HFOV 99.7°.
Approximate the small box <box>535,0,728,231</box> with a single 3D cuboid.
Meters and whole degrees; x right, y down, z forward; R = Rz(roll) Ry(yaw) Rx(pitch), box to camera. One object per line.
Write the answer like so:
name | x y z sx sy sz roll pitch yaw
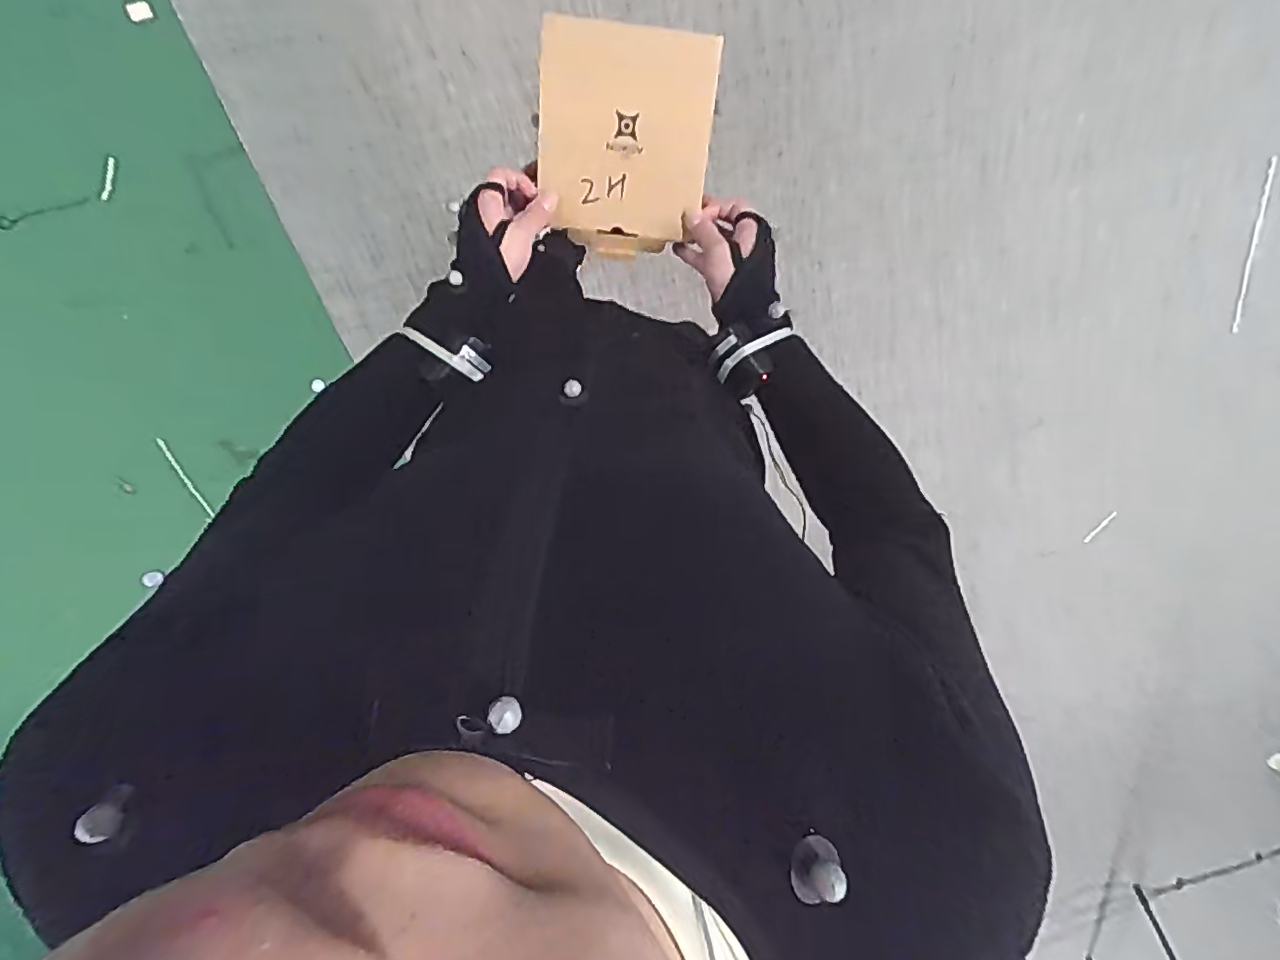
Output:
small box | -0.013 -0.374 0.580 0.168 0.176 0.179 7 114 -3
